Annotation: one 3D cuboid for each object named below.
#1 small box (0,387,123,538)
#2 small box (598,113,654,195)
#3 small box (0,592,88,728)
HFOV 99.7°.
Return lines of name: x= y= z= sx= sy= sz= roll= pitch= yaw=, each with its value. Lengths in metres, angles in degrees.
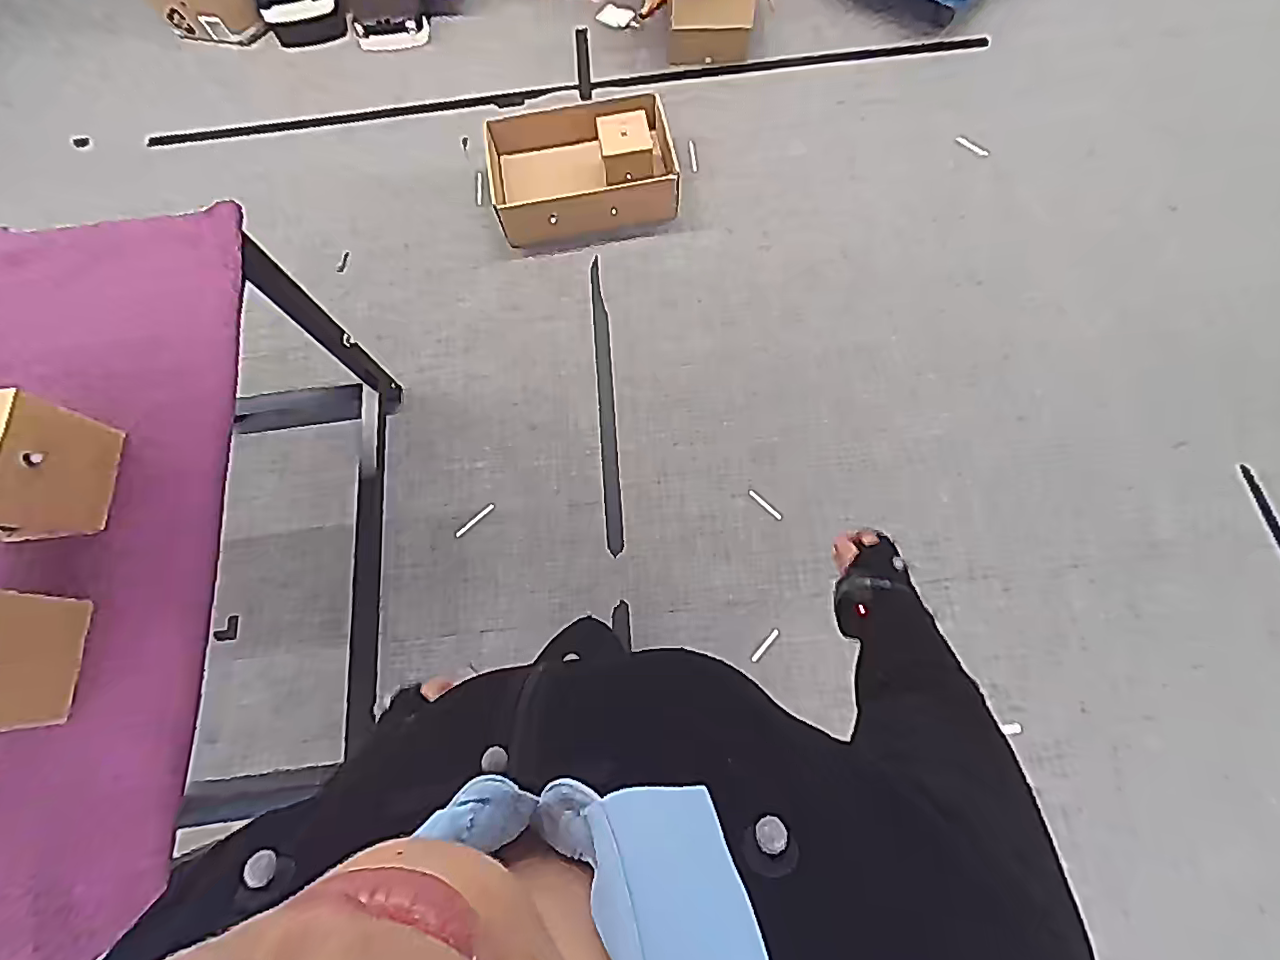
small box: x=-0.953 y=-0.020 z=0.822 sx=0.168 sy=0.176 sz=0.179 roll=-5 pitch=72 yaw=1
small box: x=-0.044 y=-1.107 z=1.853 sx=0.168 sy=0.176 sz=0.179 roll=-9 pitch=71 yaw=-1
small box: x=-0.917 y=0.248 z=0.730 sx=0.168 sy=0.176 sz=0.179 roll=-6 pitch=71 yaw=0
